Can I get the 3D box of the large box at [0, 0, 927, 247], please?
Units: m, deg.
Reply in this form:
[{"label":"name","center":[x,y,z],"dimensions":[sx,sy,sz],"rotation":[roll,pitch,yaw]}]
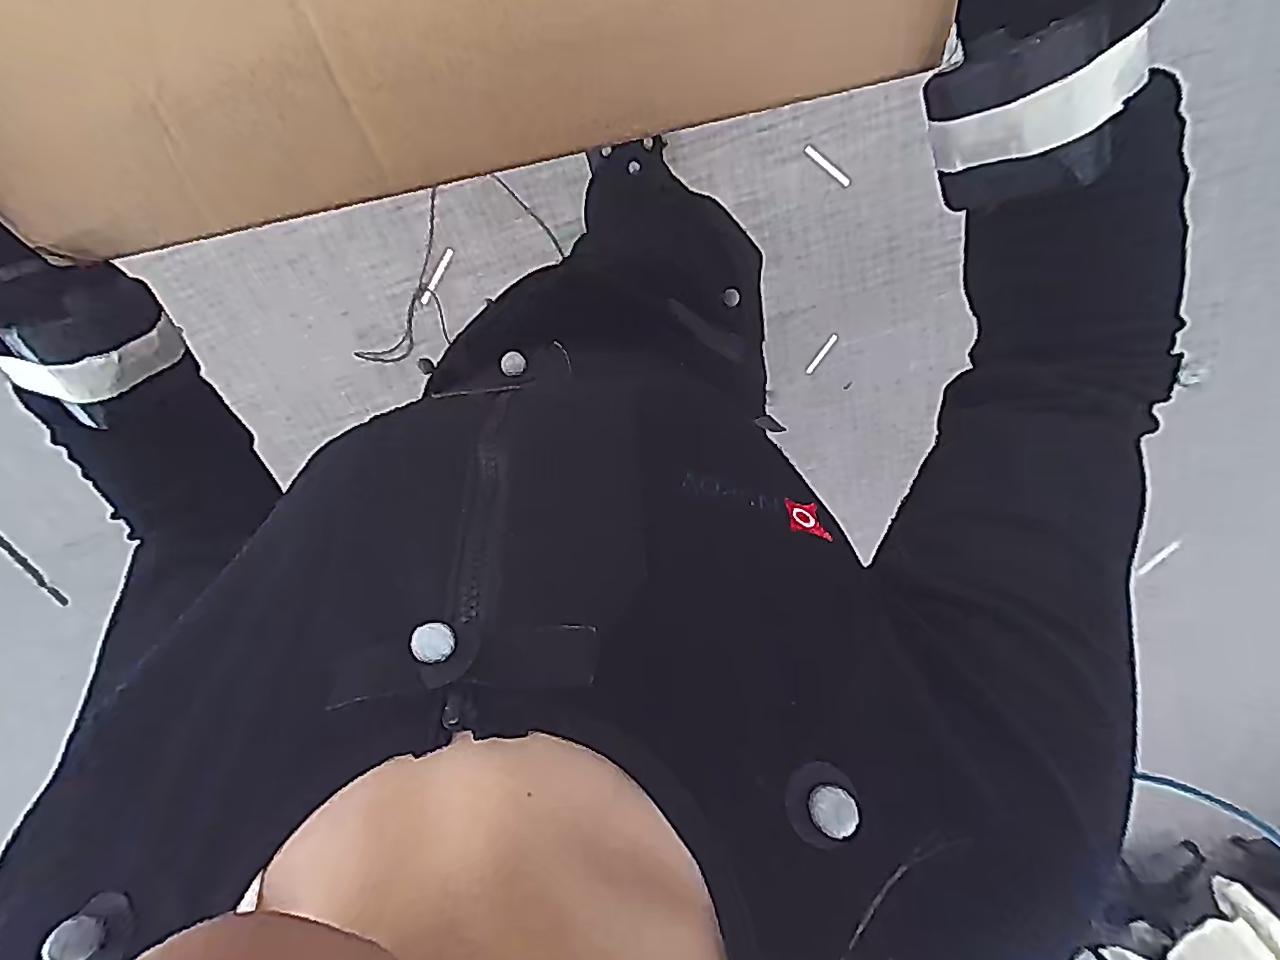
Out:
[{"label":"large box","center":[-0.114,-0.355,0.222],"dimensions":[0.408,0.320,0.320],"rotation":[-10,140,4]}]
